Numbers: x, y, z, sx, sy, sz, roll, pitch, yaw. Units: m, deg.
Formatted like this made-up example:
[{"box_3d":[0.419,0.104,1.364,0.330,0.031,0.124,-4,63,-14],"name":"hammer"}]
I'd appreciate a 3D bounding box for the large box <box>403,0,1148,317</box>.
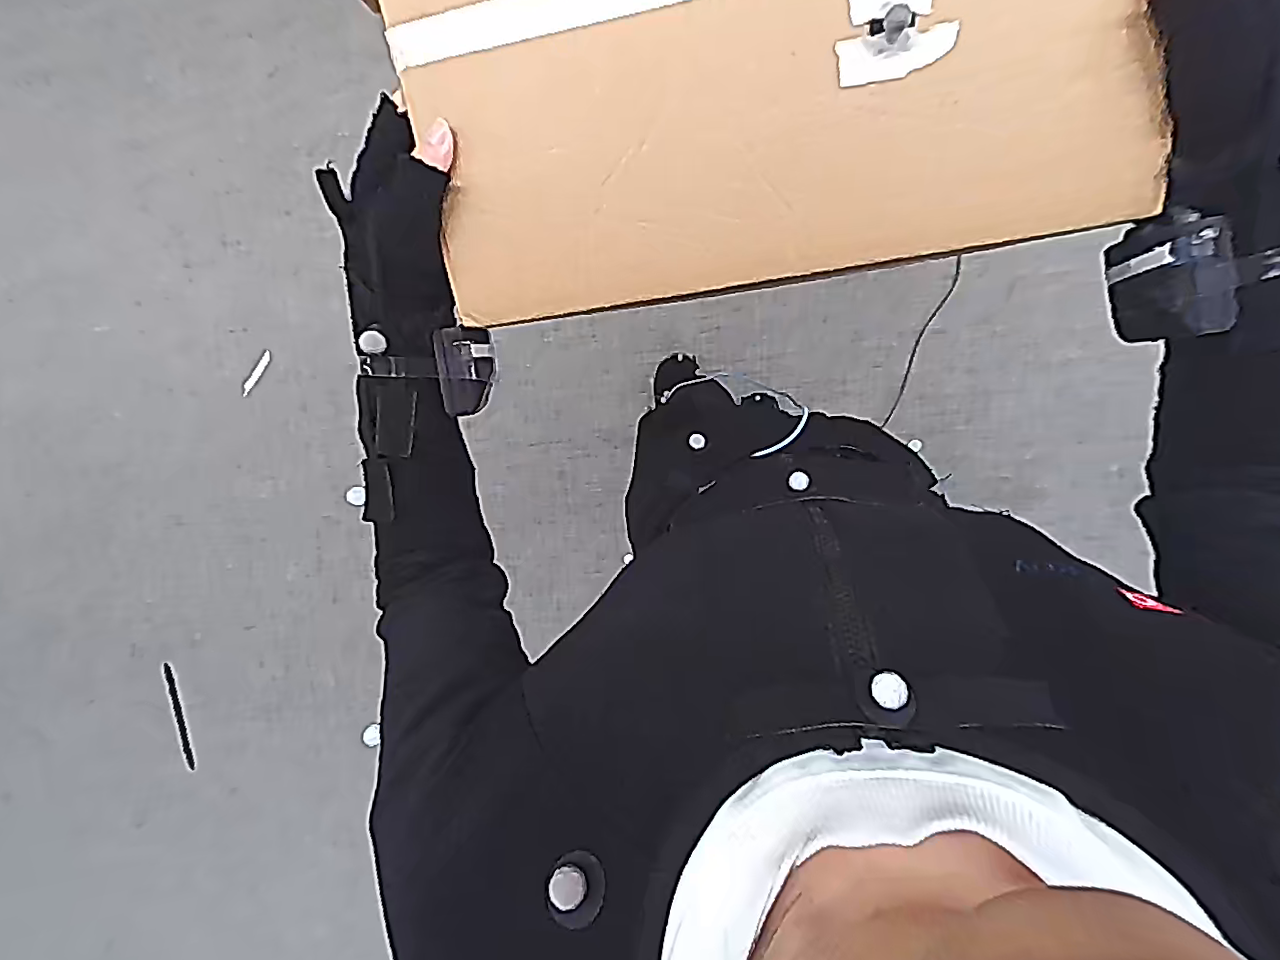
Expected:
[{"box_3d":[0.074,-0.325,0.435,0.408,0.320,0.320,-7,108,9],"name":"large box"}]
